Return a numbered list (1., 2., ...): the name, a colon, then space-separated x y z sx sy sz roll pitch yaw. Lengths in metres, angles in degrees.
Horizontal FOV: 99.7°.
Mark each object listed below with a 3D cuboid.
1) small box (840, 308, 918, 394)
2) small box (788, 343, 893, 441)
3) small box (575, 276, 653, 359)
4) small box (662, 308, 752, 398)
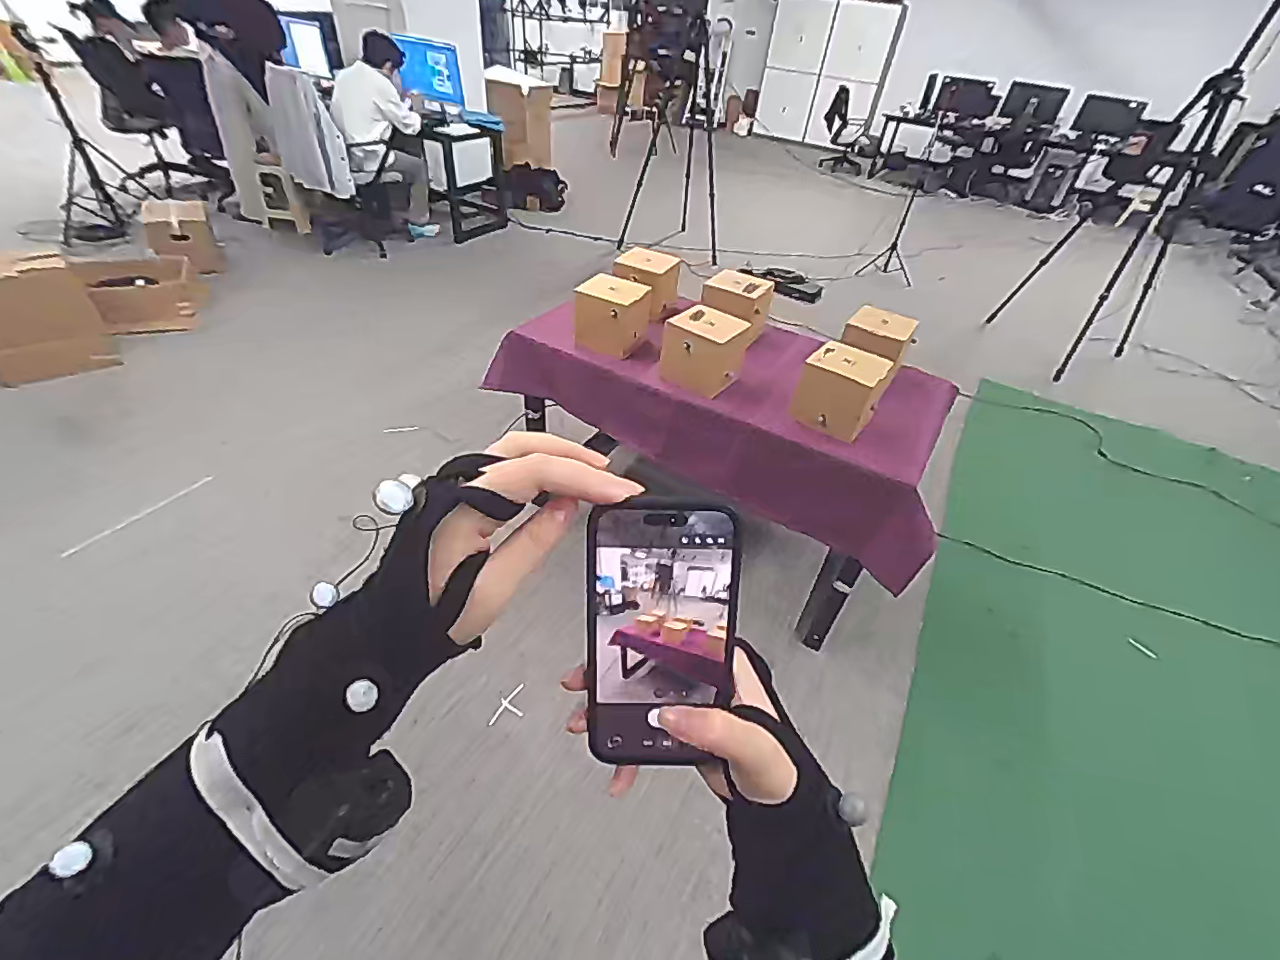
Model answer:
1. small box: 0.685 -0.380 1.595 0.168 0.176 0.179 27 45 23
2. small box: 0.510 -0.221 1.388 0.179 0.176 0.168 31 46 25
3. small box: -0.082 -0.481 1.607 0.179 0.176 0.168 22 42 15
4. small box: 0.178 -0.350 1.491 0.179 0.176 0.168 30 46 23
